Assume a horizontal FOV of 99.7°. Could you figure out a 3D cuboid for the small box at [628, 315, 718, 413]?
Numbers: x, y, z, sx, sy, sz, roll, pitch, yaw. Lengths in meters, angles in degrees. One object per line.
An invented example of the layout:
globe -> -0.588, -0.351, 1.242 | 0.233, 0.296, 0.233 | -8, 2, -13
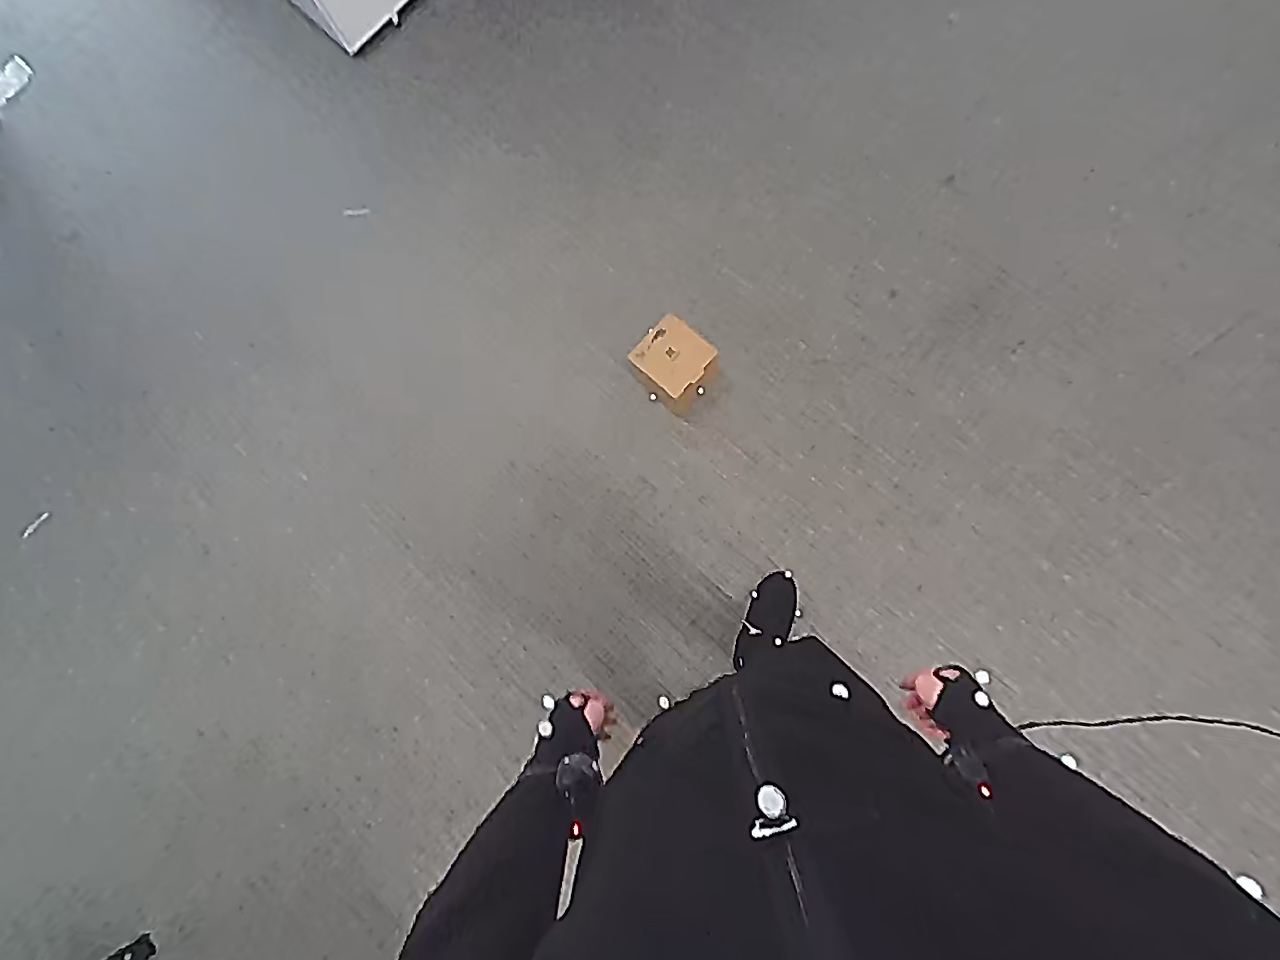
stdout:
small box -> 0.093, -0.300, 1.455 | 0.179, 0.176, 0.168 | 43, 87, 12
